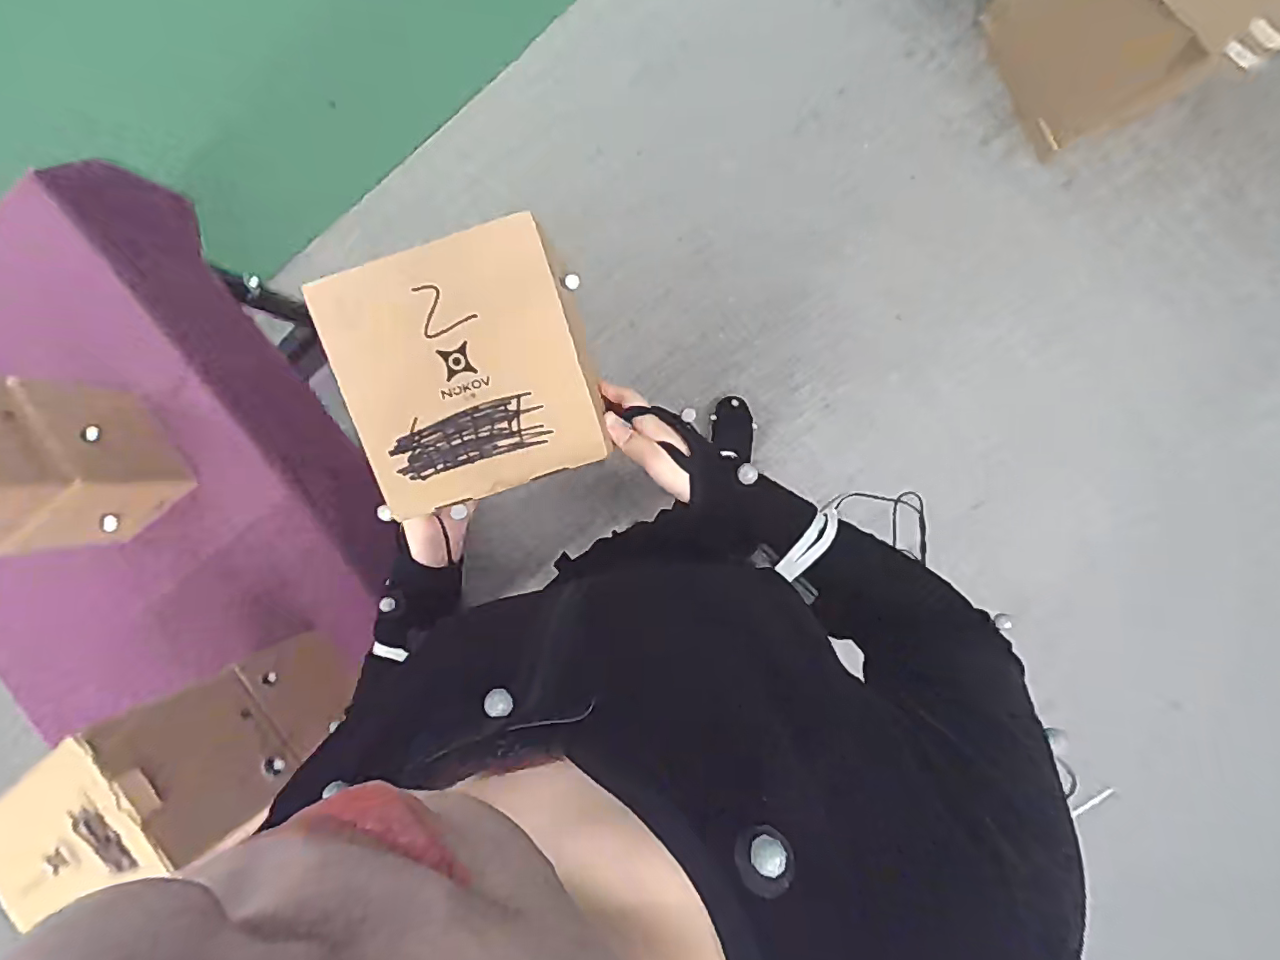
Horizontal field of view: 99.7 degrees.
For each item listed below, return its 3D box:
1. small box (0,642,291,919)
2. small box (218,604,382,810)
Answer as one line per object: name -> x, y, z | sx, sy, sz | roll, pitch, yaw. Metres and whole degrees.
small box -> -0.532, 0.310, 0.598 | 0.179, 0.176, 0.168 | -38, 86, 8
small box -> -0.508, 0.302, 0.760 | 0.168, 0.176, 0.179 | -37, 86, 7
